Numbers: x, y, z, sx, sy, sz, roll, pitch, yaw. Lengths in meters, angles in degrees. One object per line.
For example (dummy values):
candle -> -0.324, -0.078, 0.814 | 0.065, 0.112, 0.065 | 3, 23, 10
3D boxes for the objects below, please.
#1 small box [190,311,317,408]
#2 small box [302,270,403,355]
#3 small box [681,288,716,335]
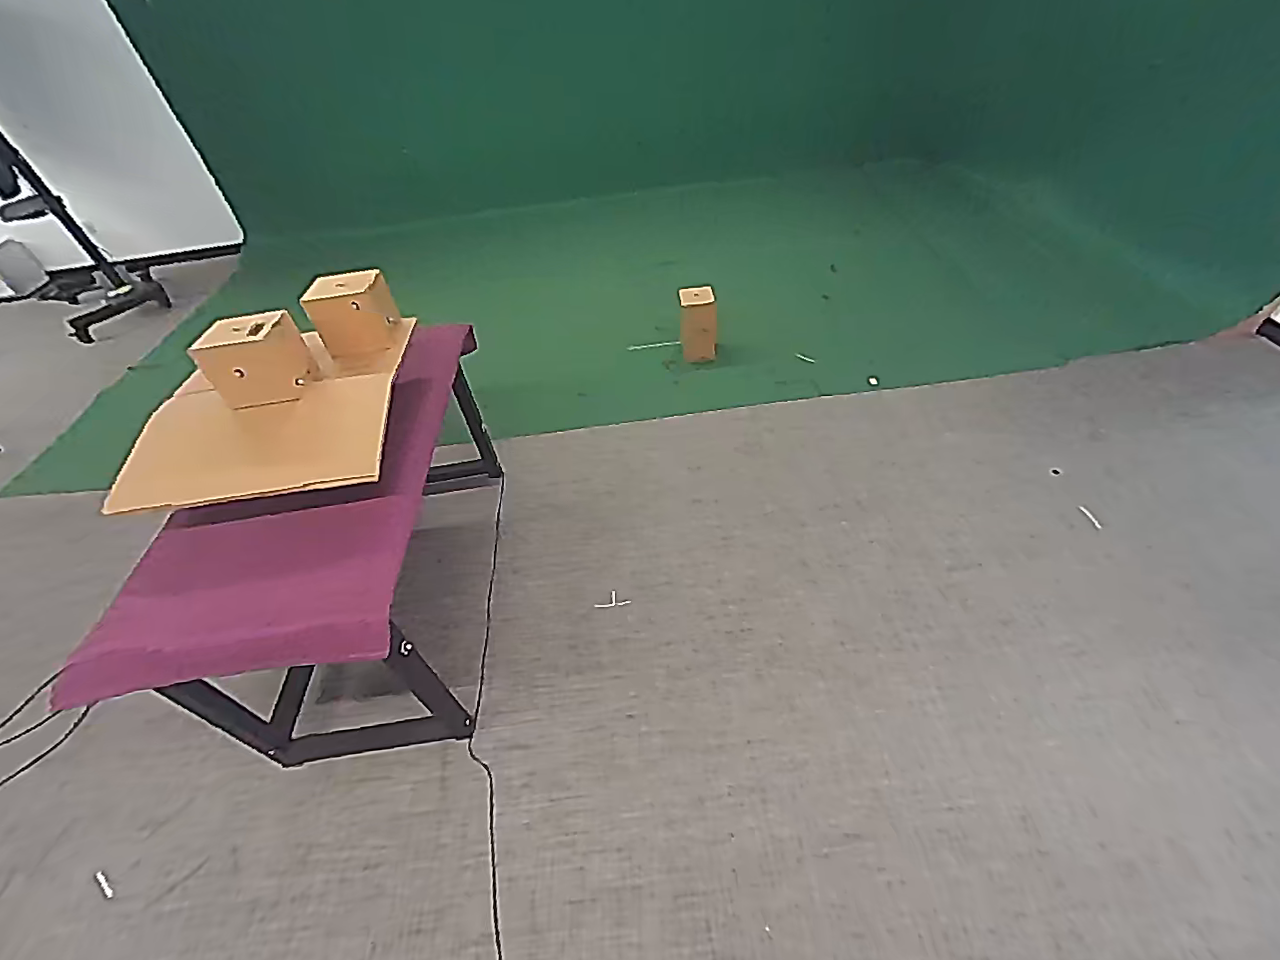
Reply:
small box -> -0.954, -0.301, 1.359 | 0.179, 0.176, 0.168 | -10, 42, -1
small box -> -0.798, -0.468, 1.521 | 0.179, 0.176, 0.168 | -9, 42, -2
small box -> 0.297, -0.869, 2.785 | 0.168, 0.176, 0.179 | -6, 45, 3
